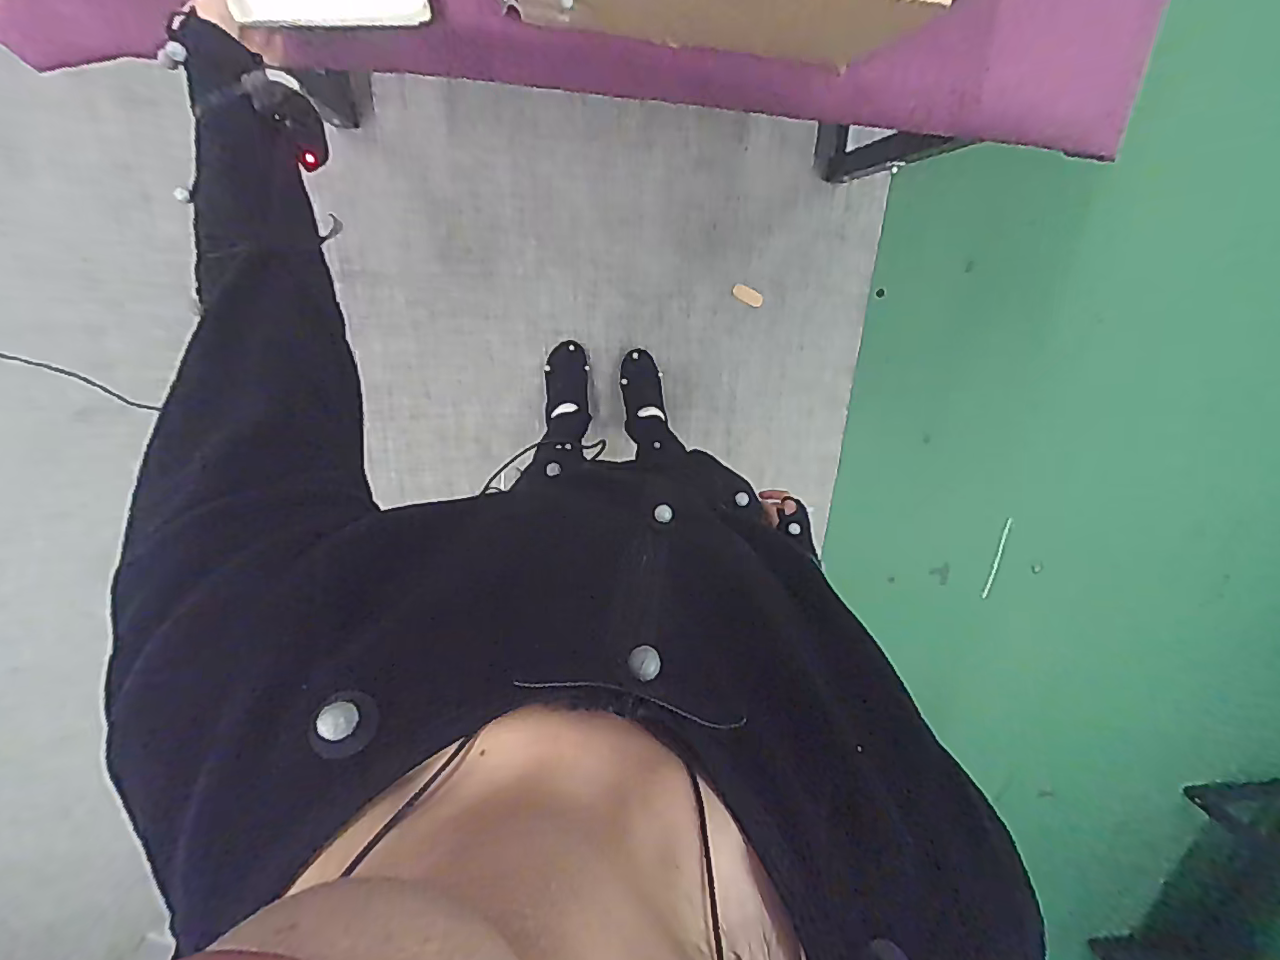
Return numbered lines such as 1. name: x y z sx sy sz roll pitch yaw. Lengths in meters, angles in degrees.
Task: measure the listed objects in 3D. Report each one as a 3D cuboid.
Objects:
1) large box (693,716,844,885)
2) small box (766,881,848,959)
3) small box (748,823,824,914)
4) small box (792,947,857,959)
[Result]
1. large box: 0.432 1.090 1.868 0.408 0.320 0.320 -15 113 -4
2. small box: 0.455 1.244 1.489 0.168 0.176 0.179 -9 110 -5
3. small box: 0.441 1.182 1.640 0.179 0.176 0.168 -11 110 -4
4. small box: 0.482 1.302 1.337 0.168 0.176 0.179 -10 109 -4
